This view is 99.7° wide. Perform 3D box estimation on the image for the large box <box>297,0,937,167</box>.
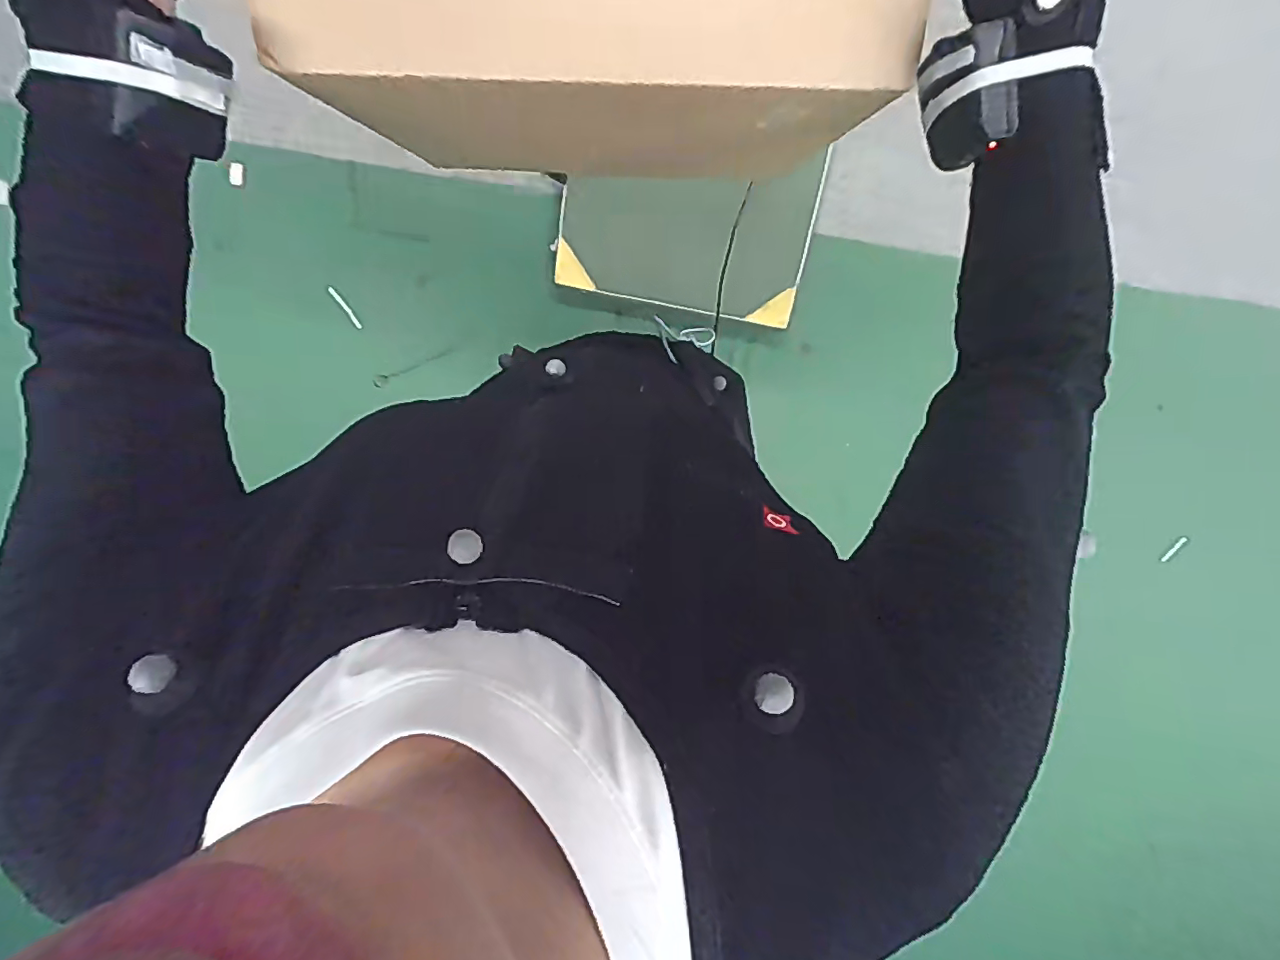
[{"bbox_3d":[-0.017,-0.455,0.433,0.408,0.320,0.320,0,111,-2],"label":"large box"}]
